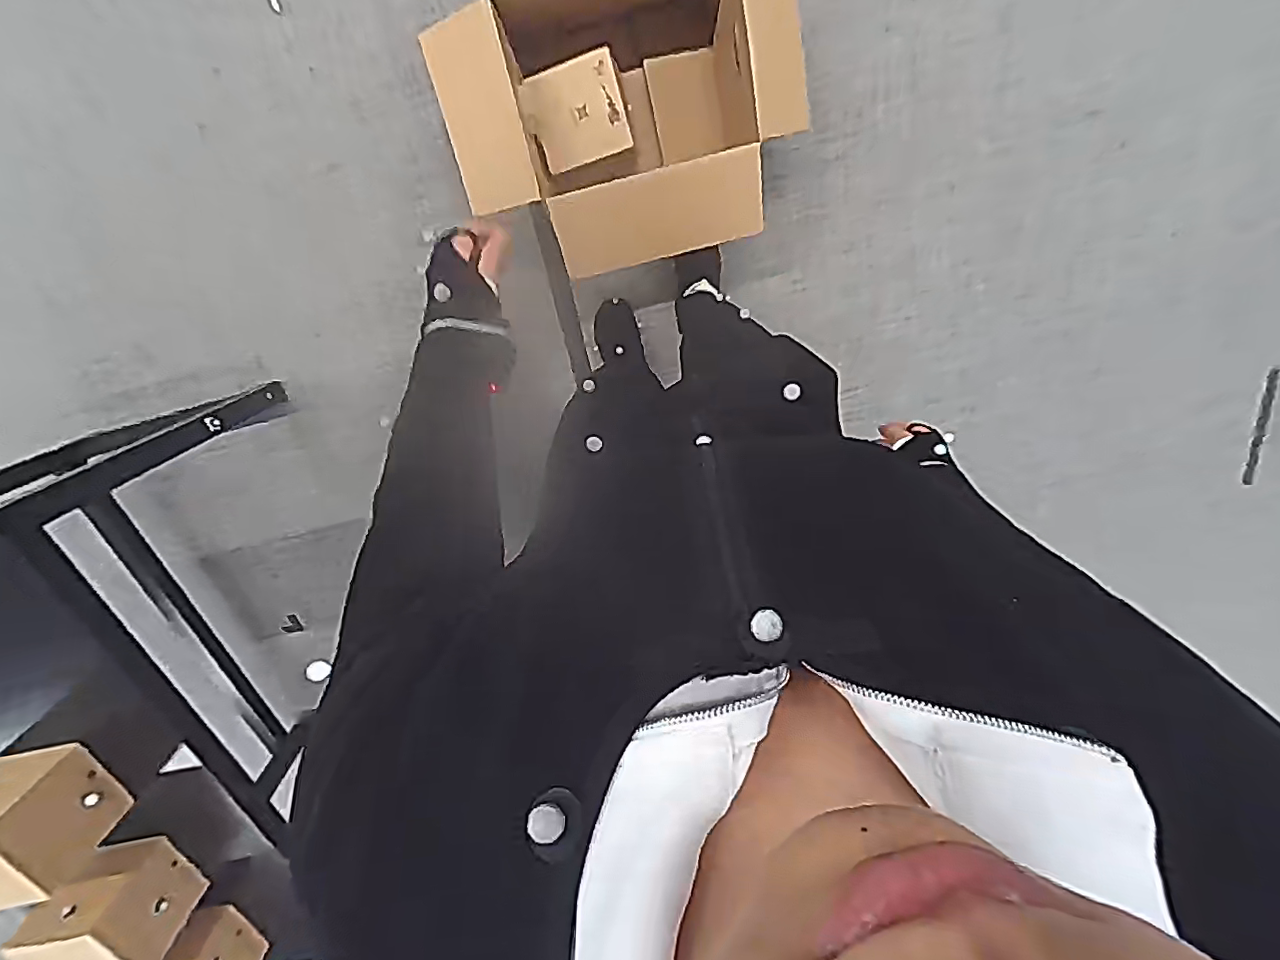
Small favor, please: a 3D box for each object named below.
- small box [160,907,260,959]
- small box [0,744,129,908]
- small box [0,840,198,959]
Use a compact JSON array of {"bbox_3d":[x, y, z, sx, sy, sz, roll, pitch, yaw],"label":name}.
[{"bbox_3d":[-0.936,1.023,1.119,0.179,0.176,0.168,-13,114,6],"label":"small box"},{"bbox_3d":[-1.041,0.578,0.906,0.179,0.176,0.168,-12,115,4],"label":"small box"},{"bbox_3d":[-0.990,0.813,1.017,0.179,0.176,0.168,-12,114,5],"label":"small box"}]
